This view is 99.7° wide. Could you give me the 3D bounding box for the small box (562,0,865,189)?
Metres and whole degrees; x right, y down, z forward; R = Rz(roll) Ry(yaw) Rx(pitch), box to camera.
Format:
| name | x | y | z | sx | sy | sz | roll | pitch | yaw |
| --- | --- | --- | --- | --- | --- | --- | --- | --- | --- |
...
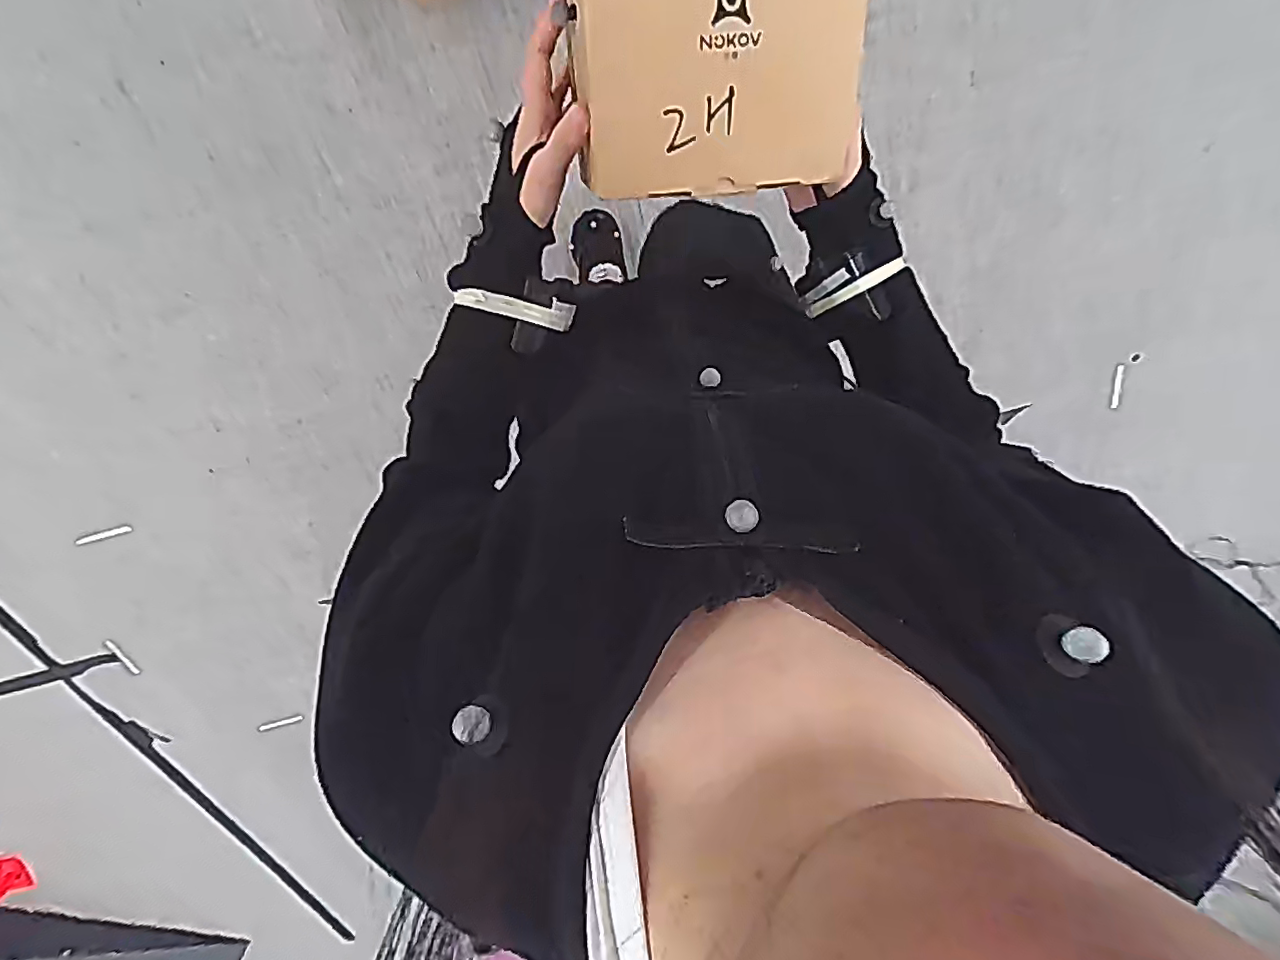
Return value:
| name | x | y | z | sx | sy | sz | roll | pitch | yaw |
| --- | --- | --- | --- | --- | --- | --- | --- | --- | --- |
| small box | 0.036 | -0.307 | 0.371 | 0.168 | 0.176 | 0.179 | -7 | 123 | -6 |
